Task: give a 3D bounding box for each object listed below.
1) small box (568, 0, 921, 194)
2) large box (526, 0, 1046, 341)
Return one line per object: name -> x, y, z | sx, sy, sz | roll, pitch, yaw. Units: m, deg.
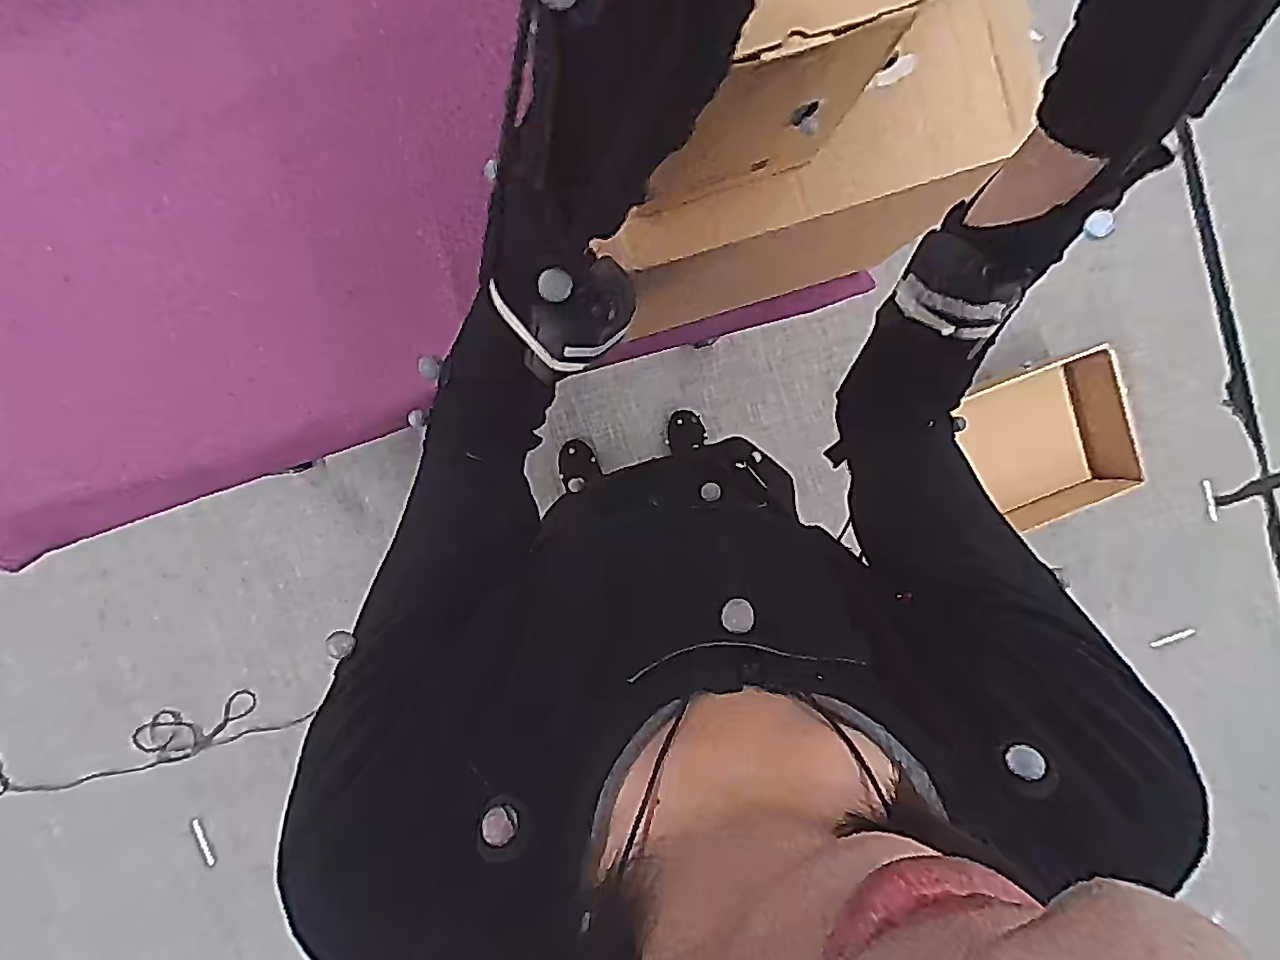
small box -> 0.050, -0.325, 0.367 | 0.168, 0.176, 0.179 | -20, 93, -4
large box -> 0.120, -0.393, 0.612 | 0.408, 0.320, 0.320 | -19, 95, -3
